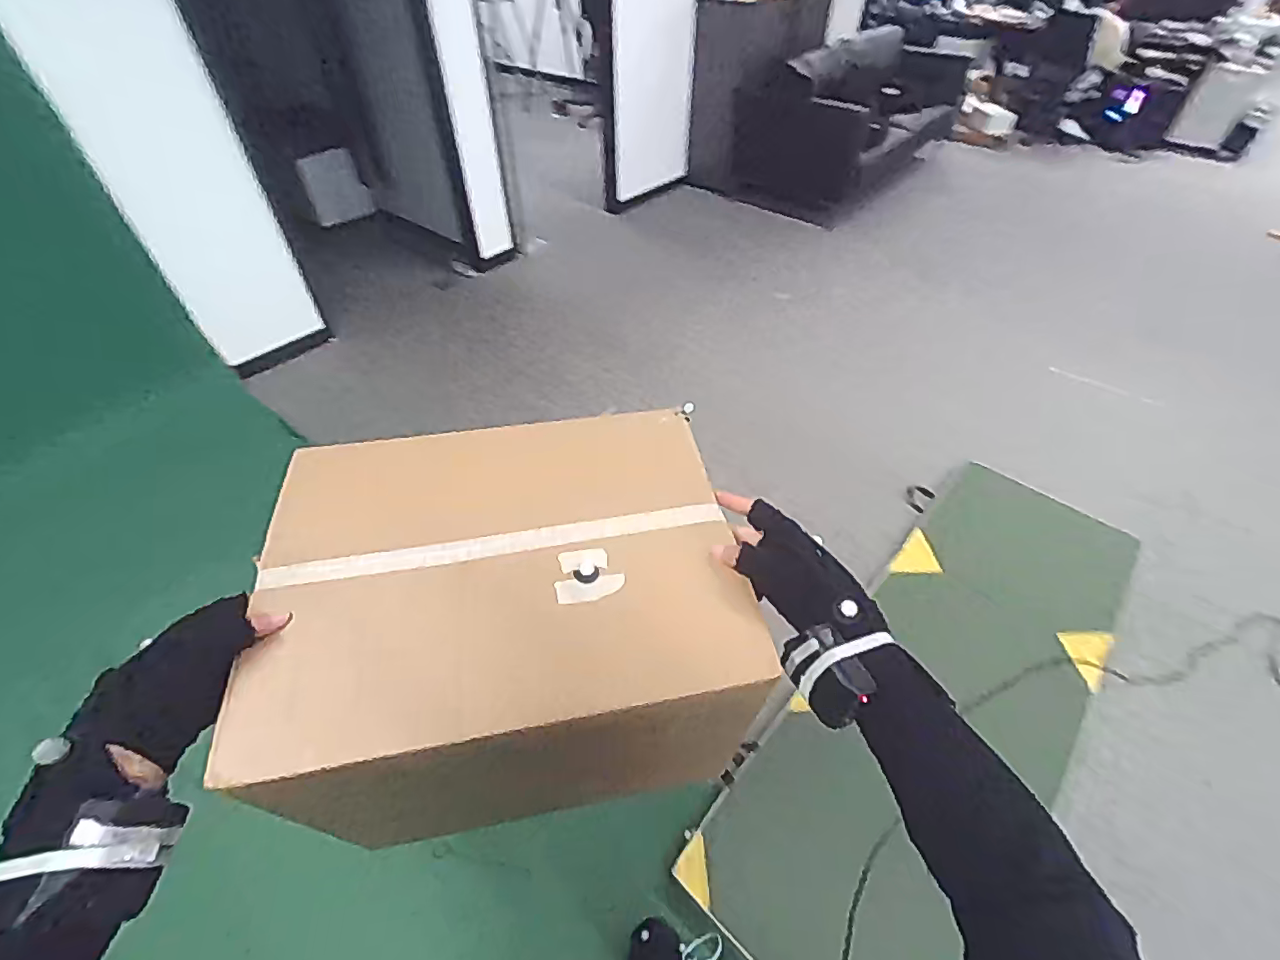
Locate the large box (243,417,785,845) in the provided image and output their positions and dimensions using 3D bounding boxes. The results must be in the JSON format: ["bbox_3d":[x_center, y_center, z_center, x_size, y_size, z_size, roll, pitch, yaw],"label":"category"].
[{"bbox_3d":[-0.115,0.160,0.602,0.408,0.320,0.320,-6,50,-10],"label":"large box"}]
